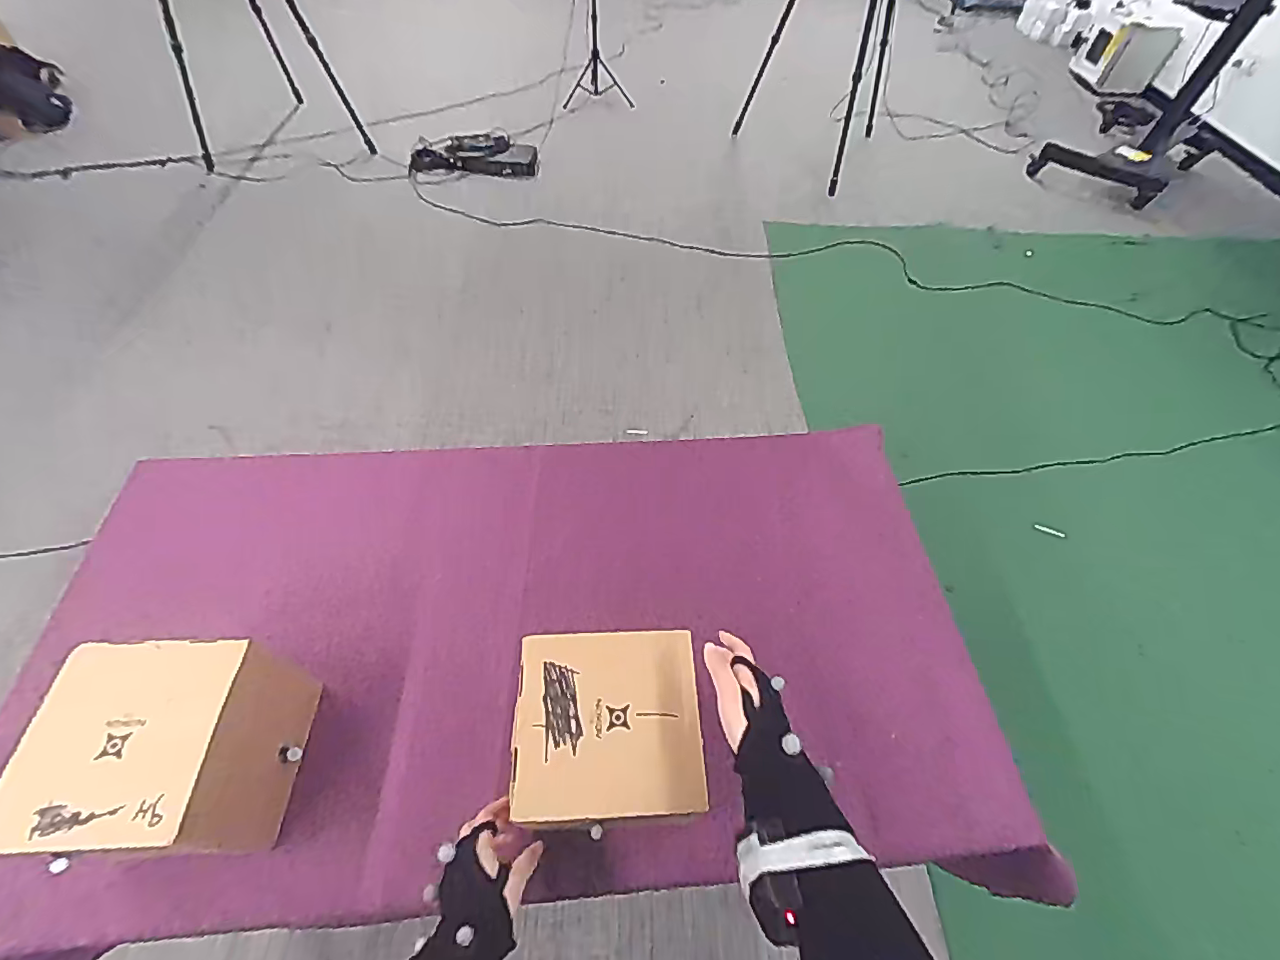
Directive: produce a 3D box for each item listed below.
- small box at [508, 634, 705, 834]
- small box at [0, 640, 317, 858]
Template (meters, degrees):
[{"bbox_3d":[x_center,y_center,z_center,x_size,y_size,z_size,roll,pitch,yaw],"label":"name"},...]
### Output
[{"bbox_3d":[-0.033,0.276,0.580,0.179,0.176,0.168,-1,55,-3],"label":"small box"},{"bbox_3d":[-0.469,0.280,0.558,0.168,0.176,0.179,0,54,-2],"label":"small box"}]
